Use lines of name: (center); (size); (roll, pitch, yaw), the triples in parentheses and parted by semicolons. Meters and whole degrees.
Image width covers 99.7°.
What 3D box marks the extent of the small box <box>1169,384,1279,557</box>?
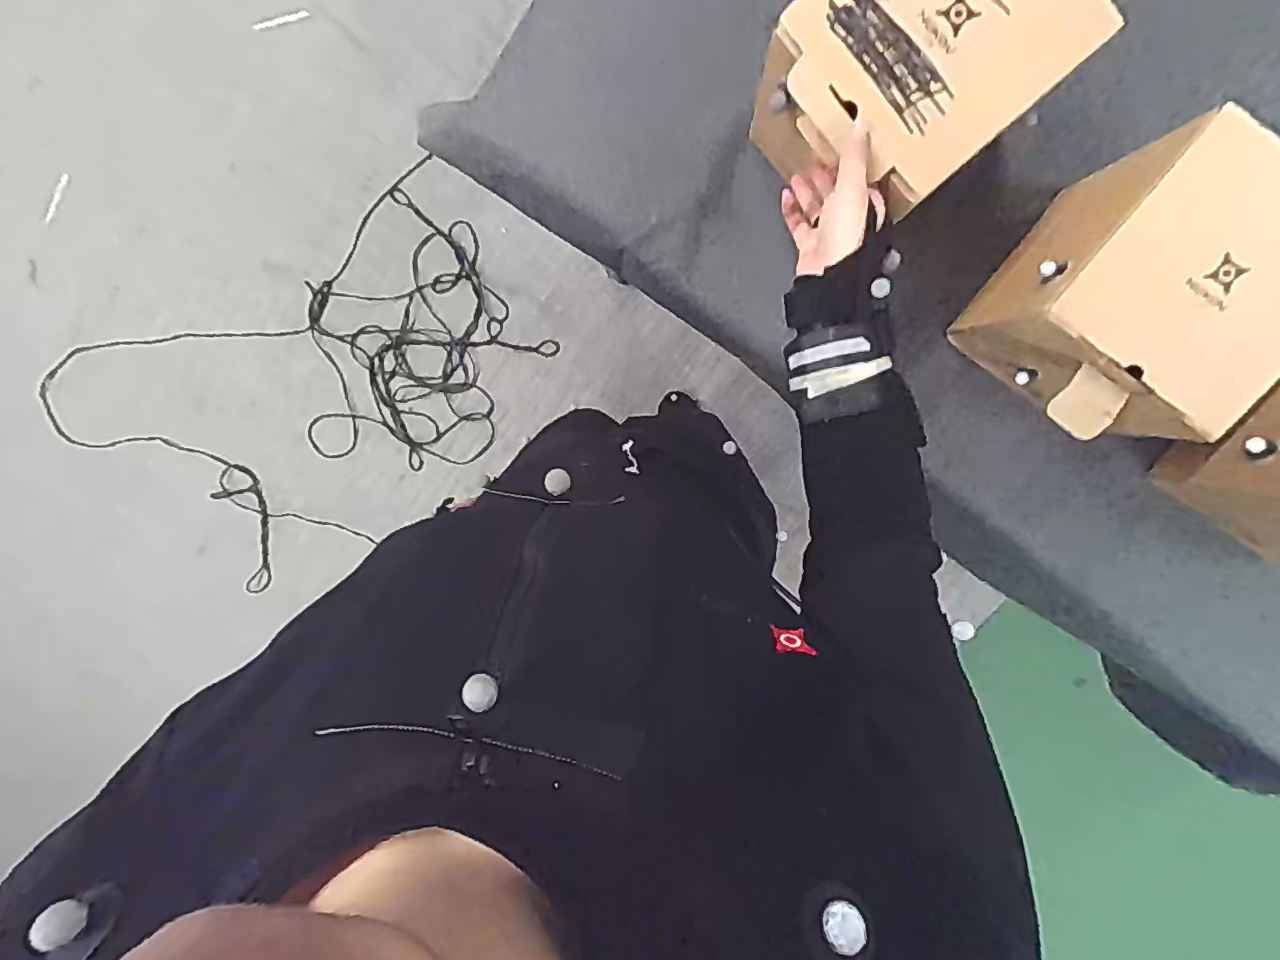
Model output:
small box: (0.633, -0.018, 0.468); (0.168, 0.176, 0.179); (33, 100, -3)

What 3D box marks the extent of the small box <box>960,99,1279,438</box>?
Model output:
small box: (0.425, -0.159, 0.463); (0.168, 0.176, 0.179); (36, 101, -2)
